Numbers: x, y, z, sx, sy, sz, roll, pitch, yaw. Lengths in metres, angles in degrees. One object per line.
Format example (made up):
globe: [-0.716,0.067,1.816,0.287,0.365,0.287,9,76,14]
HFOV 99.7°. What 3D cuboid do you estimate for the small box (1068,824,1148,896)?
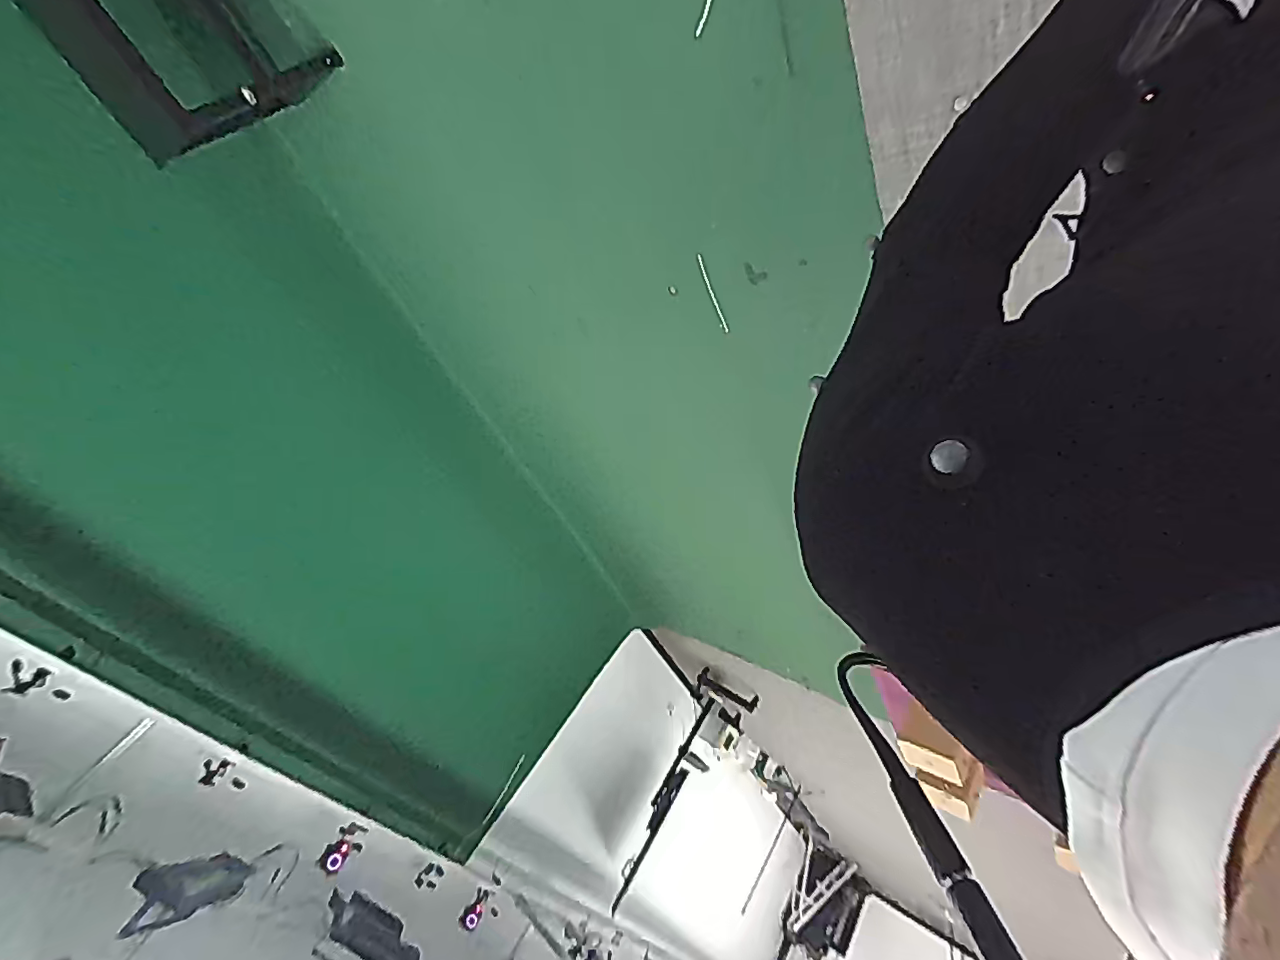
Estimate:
small box: [1.370,1.050,1.574,0.168,0.176,0.179,8,139,46]

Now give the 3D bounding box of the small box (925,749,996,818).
small box: [1.103,1.008,1.854,0.168,0.176,0.179,9,141,45]

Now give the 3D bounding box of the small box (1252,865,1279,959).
small box: [1.605,1.071,1.295,0.168,0.176,0.179,9,141,47]

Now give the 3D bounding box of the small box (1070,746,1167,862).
small box: [1.238,0.833,1.401,0.168,0.176,0.179,11,143,45]

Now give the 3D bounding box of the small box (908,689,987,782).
small box: [0.963,0.790,1.684,0.168,0.176,0.179,7,139,46]
